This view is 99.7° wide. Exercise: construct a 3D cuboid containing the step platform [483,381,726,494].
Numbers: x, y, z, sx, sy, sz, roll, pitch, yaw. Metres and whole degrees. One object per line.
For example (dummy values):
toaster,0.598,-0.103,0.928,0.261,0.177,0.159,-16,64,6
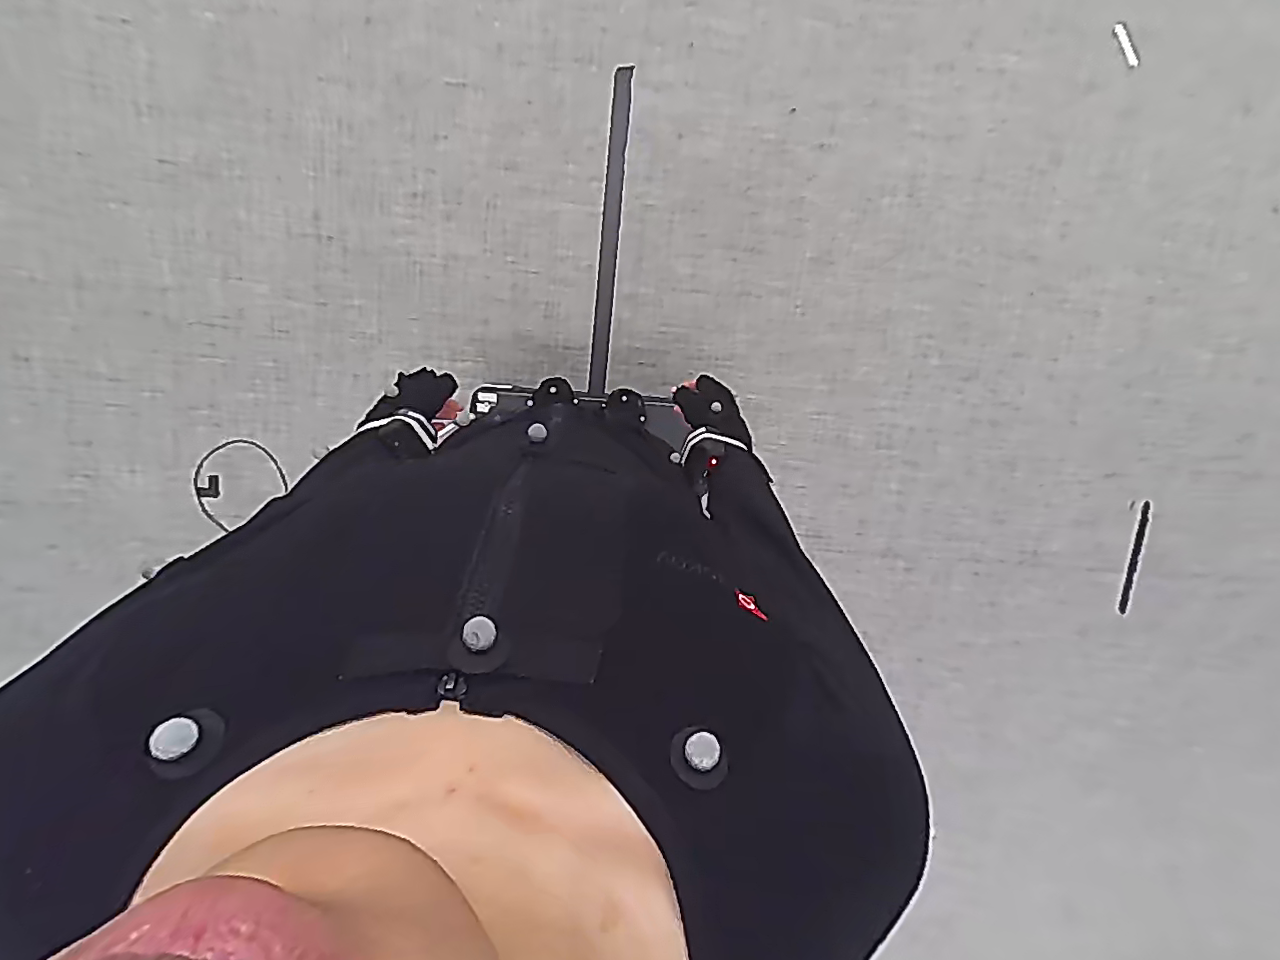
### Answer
step platform,-0.098,-0.122,1.555,0.684,0.204,0.286,3,101,-4
